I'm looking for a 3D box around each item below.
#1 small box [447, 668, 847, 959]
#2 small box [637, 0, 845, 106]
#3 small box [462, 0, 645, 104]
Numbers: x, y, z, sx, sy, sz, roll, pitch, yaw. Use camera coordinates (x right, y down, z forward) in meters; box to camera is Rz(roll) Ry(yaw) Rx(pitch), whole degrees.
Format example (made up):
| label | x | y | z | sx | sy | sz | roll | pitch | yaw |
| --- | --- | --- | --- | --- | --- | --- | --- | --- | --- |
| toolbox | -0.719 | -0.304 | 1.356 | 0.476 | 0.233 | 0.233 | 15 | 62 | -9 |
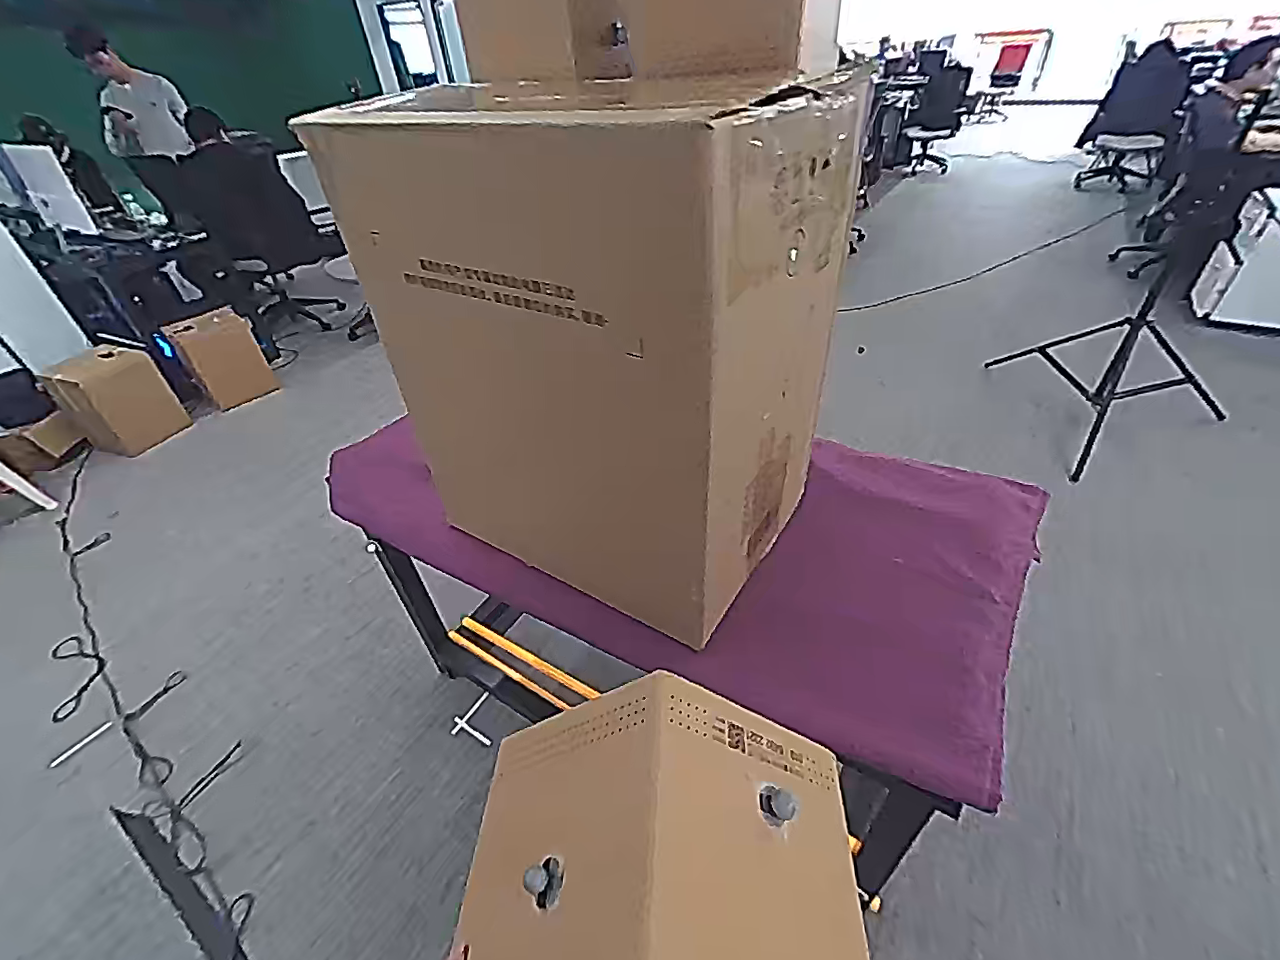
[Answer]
| label | x | y | z | sx | sy | sz | roll | pitch | yaw |
| --- | --- | --- | --- | --- | --- | --- | --- | --- | --- |
| small box | 0.009 | 0.243 | 0.330 | 0.179 | 0.168 | 0.176 | -37 | 31 | 33 |
| small box | 0.109 | -0.500 | 0.556 | 0.179 | 0.176 | 0.168 | 15 | 43 | 25 |
| small box | -0.102 | -0.567 | 0.657 | 0.179 | 0.176 | 0.168 | 21 | 47 | 25 |
